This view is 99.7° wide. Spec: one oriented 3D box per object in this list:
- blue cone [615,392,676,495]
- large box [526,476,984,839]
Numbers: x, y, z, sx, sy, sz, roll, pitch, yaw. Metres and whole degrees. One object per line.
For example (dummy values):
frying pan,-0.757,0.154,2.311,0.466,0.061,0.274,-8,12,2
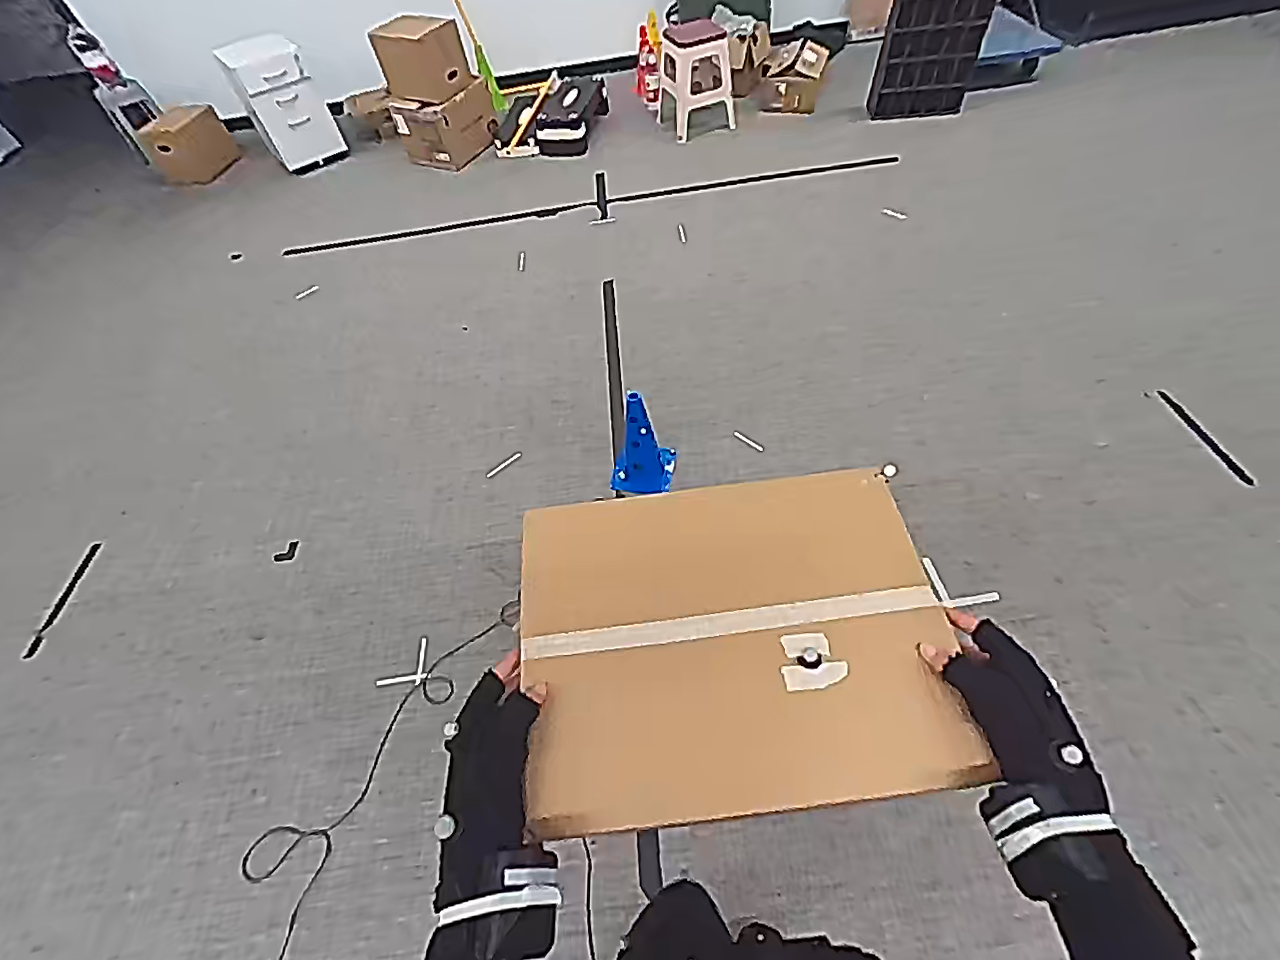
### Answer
blue cone,0.004,-0.129,1.725,0.193,0.380,0.192,10,56,14
large box,0.092,0.230,0.663,0.408,0.320,0.320,-7,57,0
